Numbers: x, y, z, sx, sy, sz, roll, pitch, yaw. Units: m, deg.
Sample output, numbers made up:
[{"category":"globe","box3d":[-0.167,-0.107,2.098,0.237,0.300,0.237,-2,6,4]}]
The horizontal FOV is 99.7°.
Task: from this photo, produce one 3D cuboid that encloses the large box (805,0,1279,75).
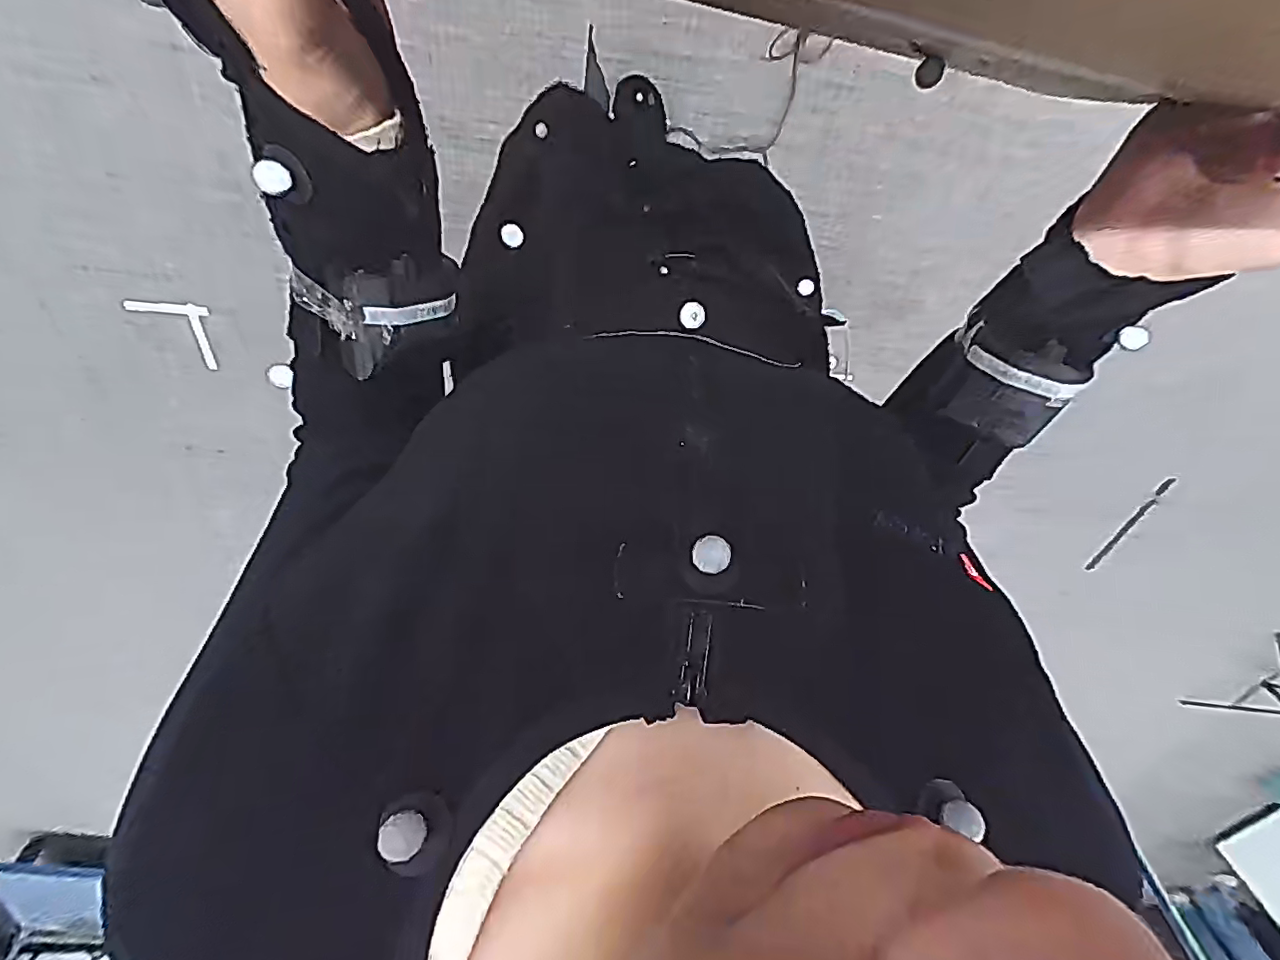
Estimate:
[{"category":"large box","box3d":[0.103,-0.311,0.101,0.408,0.320,0.320,5,128,-10]}]
